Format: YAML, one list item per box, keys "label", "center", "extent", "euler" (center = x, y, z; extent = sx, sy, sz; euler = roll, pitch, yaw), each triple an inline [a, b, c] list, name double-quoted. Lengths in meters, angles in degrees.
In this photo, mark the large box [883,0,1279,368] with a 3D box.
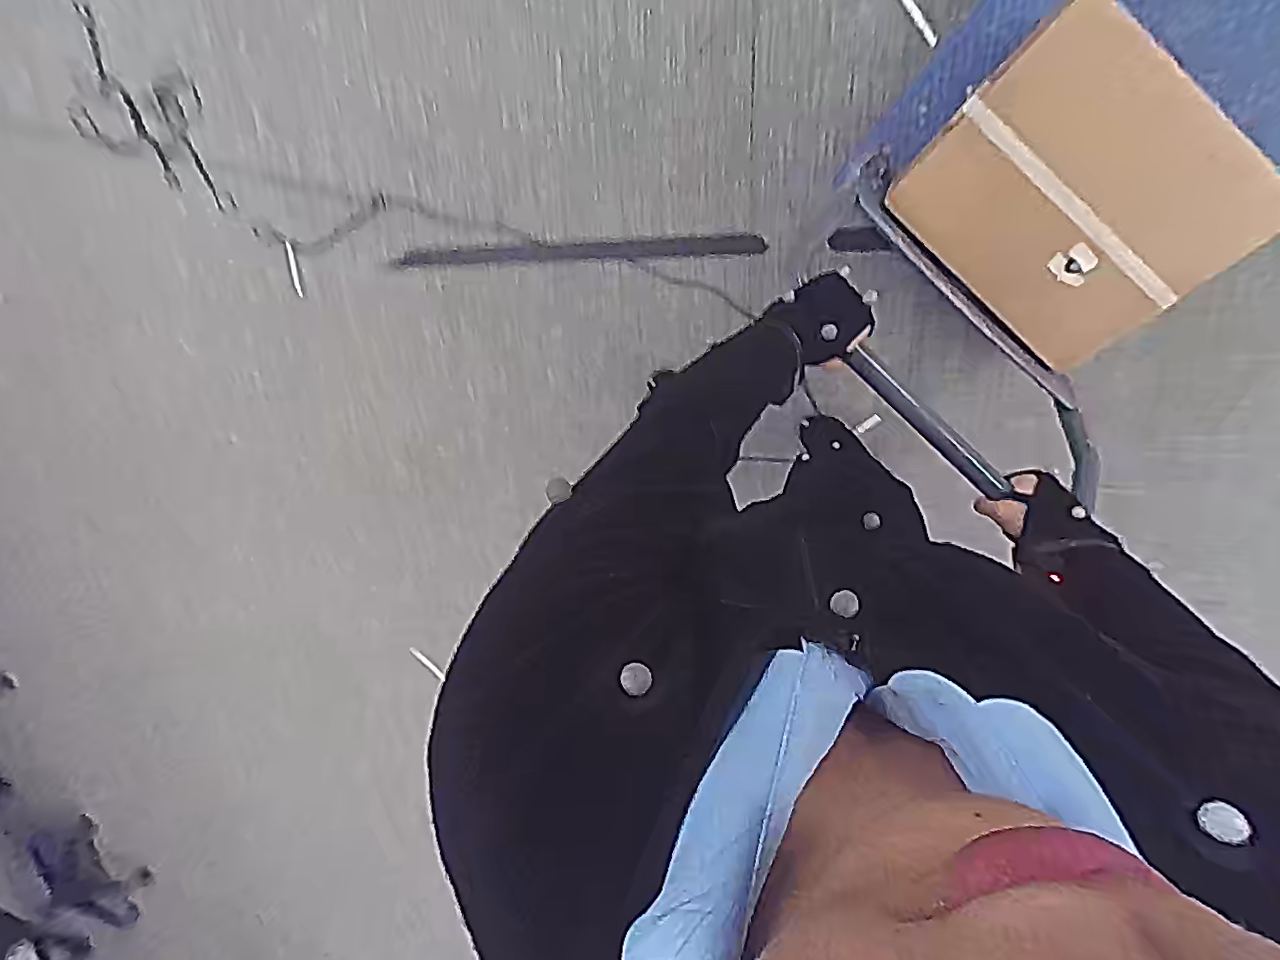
- label: "large box"
  center: [0.670, -0.470, 0.898]
  extent: [0.408, 0.320, 0.320]
  euler: [42, 130, -4]
